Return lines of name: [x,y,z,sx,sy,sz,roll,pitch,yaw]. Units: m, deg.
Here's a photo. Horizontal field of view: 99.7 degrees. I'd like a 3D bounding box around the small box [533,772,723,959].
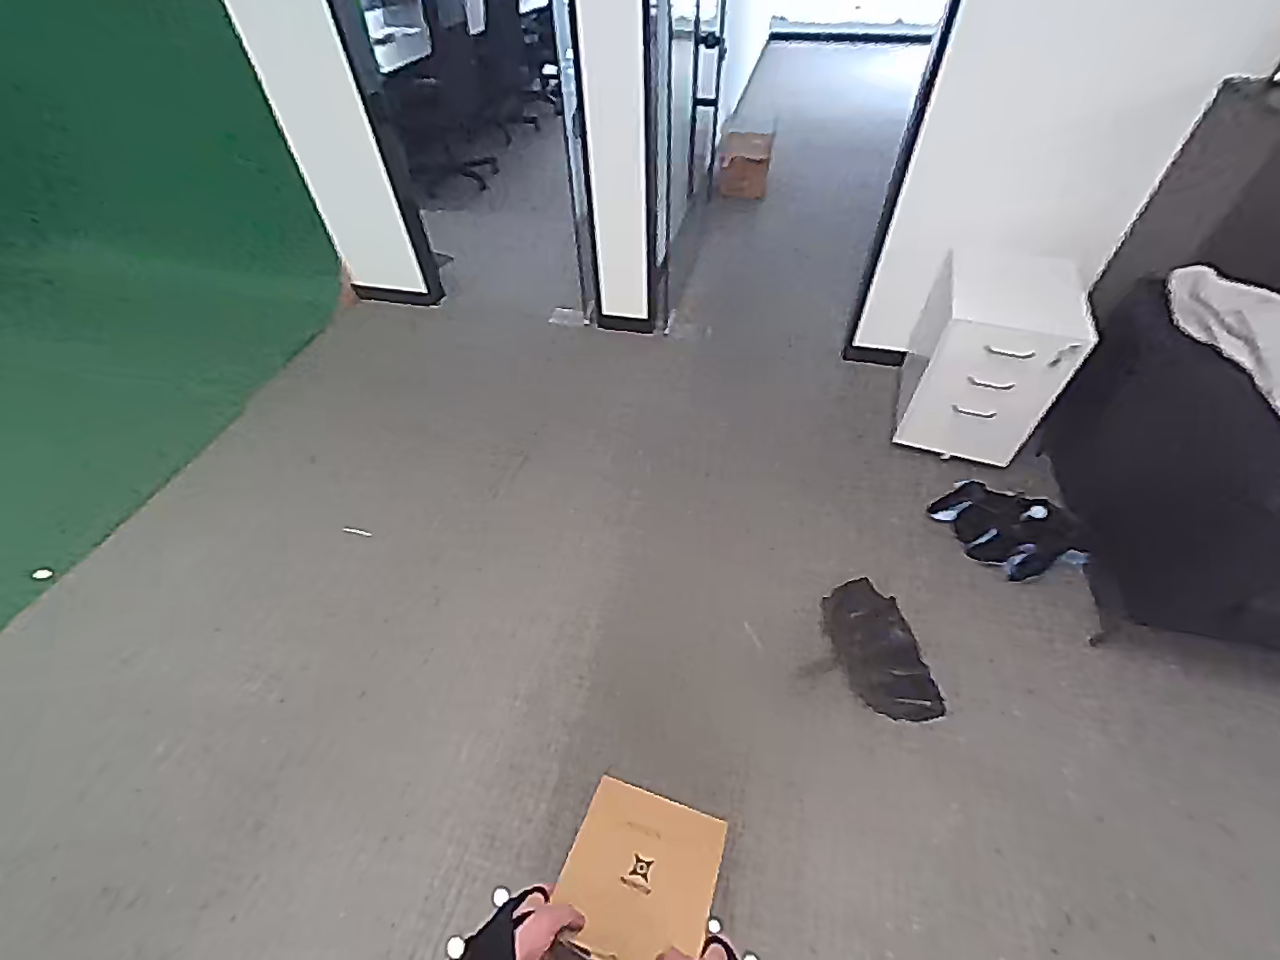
small box: [-0.008,0.498,0.639,0.168,0.176,0.179,13,32,15]
